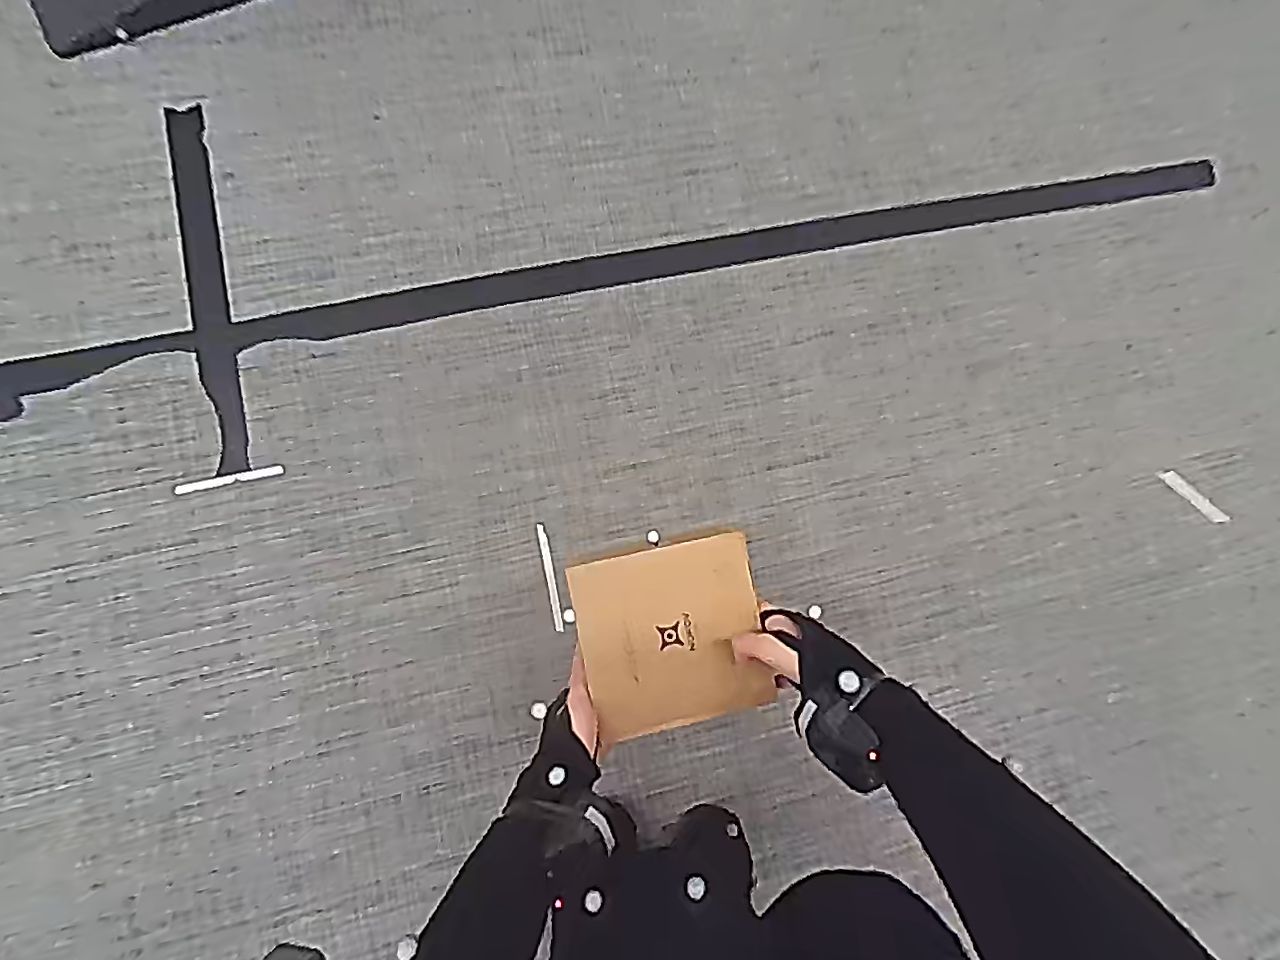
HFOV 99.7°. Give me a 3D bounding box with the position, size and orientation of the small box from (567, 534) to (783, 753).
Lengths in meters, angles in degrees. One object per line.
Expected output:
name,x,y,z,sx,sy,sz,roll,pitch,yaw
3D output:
small box,0.023,0.151,0.564,0.179,0.176,0.168,-10,86,-7
